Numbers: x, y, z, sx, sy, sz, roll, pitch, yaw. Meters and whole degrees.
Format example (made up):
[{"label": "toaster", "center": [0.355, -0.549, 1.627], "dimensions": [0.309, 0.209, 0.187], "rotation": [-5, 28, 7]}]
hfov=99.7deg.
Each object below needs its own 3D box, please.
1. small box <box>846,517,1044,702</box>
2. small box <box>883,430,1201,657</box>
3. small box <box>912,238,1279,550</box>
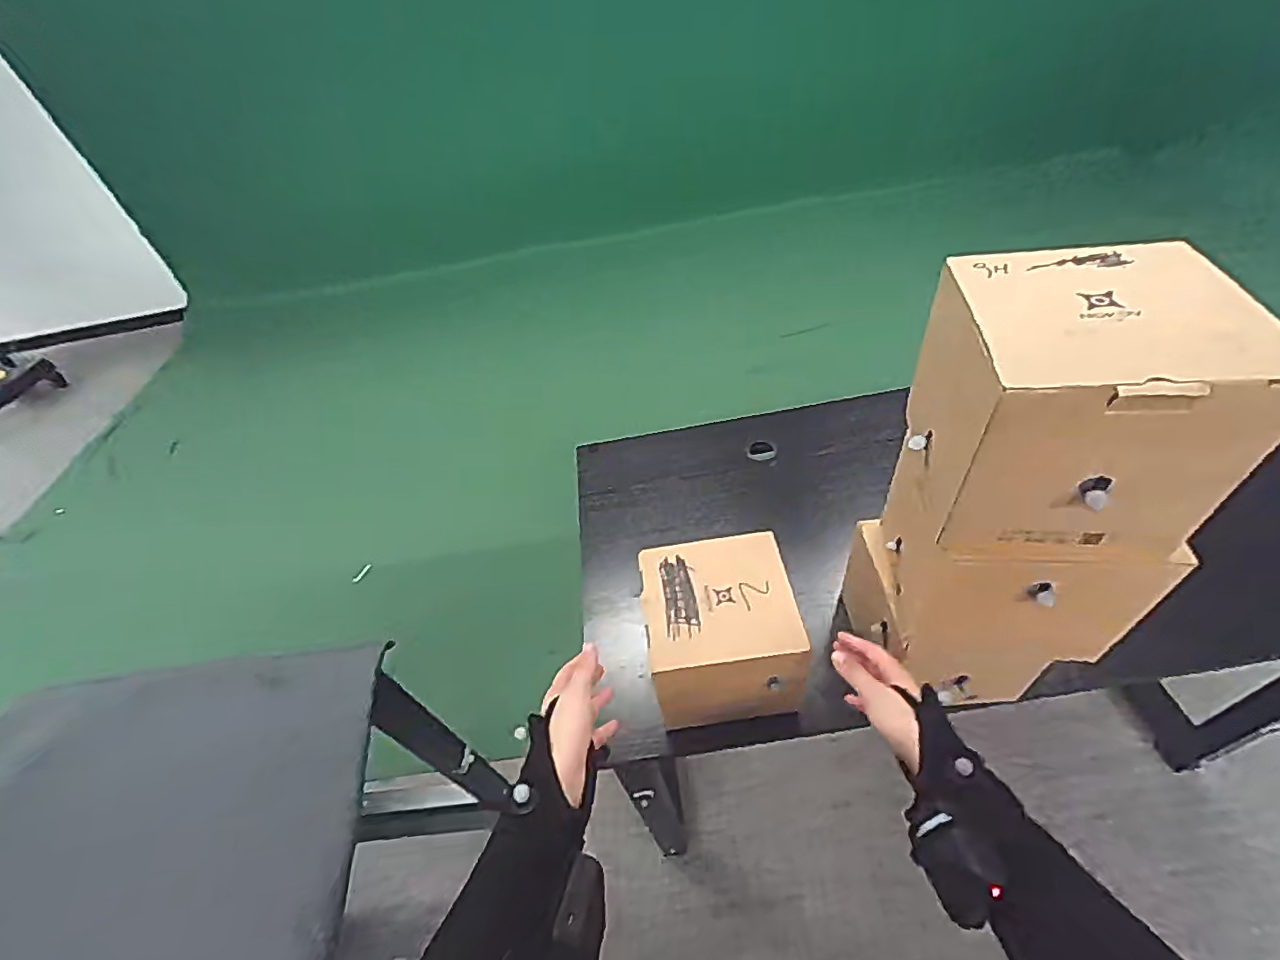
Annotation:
[{"label": "small box", "center": [0.366, 0.158, 0.662], "dimensions": [0.168, 0.176, 0.179], "rotation": [-6, 46, 4]}, {"label": "small box", "center": [0.358, 0.060, 0.530], "dimensions": [0.179, 0.176, 0.168], "rotation": [-1, 47, 11]}, {"label": "small box", "center": [0.328, -0.061, 0.423], "dimensions": [0.168, 0.176, 0.179], "rotation": [1, 48, 13]}]
